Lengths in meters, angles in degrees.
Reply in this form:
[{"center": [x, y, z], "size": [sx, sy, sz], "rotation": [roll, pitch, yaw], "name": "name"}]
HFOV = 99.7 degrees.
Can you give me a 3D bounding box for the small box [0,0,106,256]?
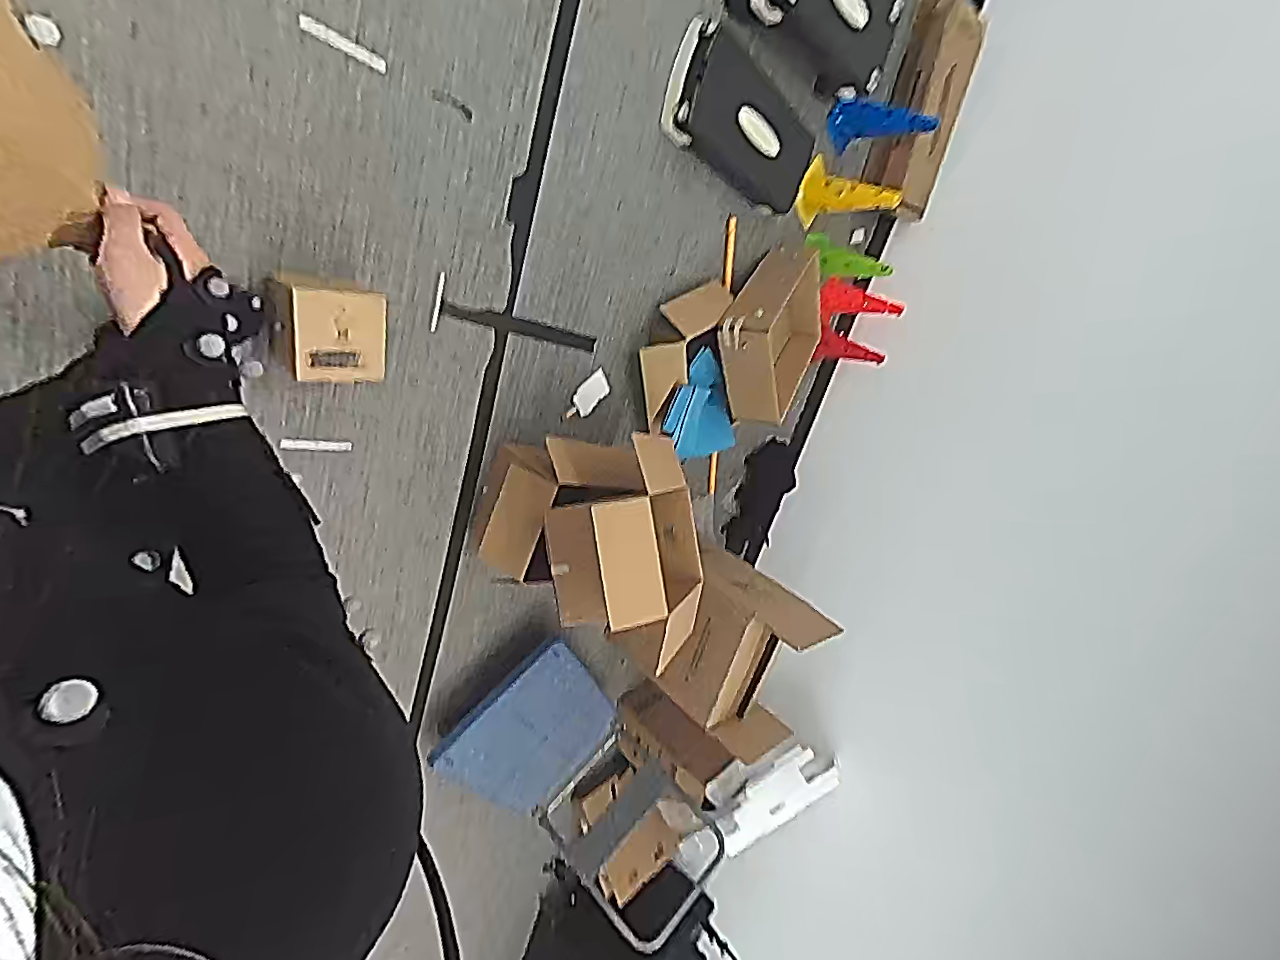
[{"center": [-0.460, -0.239, 0.298], "size": [0.179, 0.176, 0.168], "rotation": [-24, 156, -23], "name": "small box"}]
